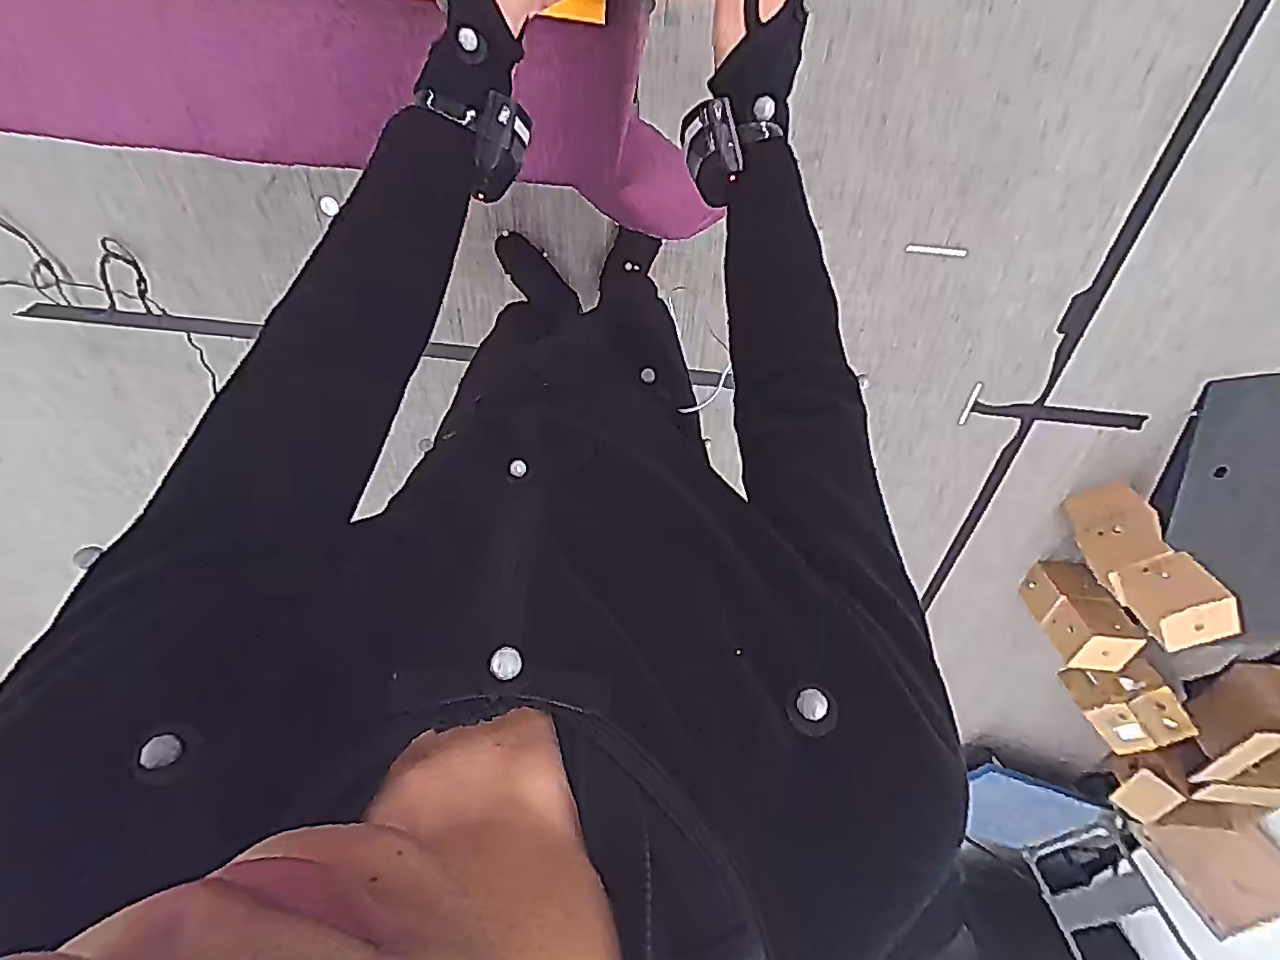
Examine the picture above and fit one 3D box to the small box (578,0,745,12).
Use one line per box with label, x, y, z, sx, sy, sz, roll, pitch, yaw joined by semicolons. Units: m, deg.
small box;0.009;-0.517;0.462;0.179;0.176;0.168;4;128;-1
